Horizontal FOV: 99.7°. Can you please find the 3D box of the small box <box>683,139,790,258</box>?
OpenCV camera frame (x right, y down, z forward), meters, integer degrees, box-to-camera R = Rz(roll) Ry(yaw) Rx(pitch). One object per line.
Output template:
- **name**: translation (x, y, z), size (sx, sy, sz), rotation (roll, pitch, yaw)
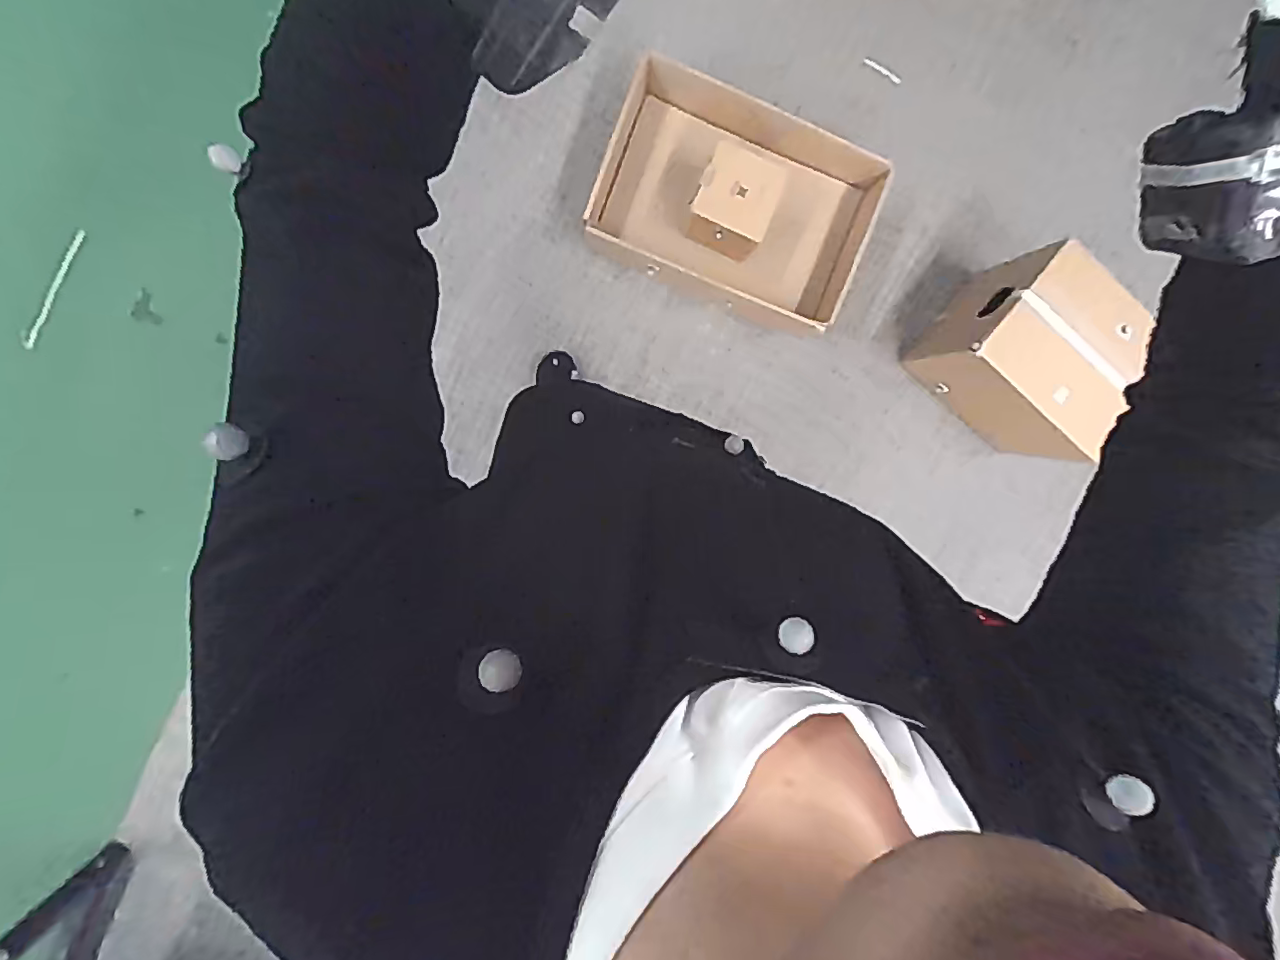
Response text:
- **small box**: translation (0.216, -0.647, 1.269), size (0.179, 0.176, 0.168), rotation (22, 96, -7)
